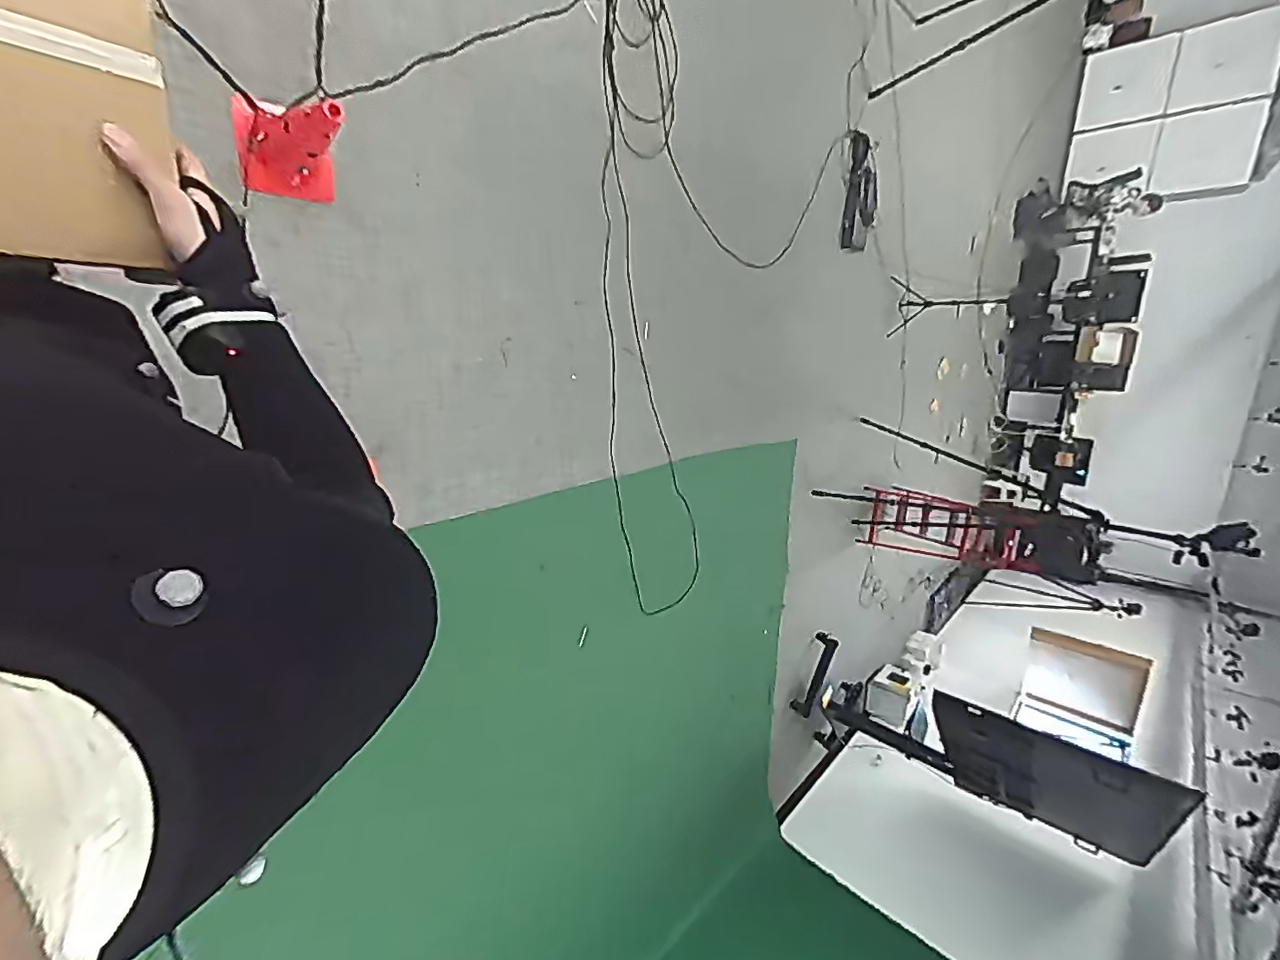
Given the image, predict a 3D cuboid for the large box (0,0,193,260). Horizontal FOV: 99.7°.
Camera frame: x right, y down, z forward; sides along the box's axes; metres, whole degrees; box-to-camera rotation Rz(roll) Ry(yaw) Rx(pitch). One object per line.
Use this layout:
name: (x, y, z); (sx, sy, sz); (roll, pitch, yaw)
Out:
large box: (-0.650, -0.354, 0.410); (0.408, 0.320, 0.320); (-14, 116, -47)
